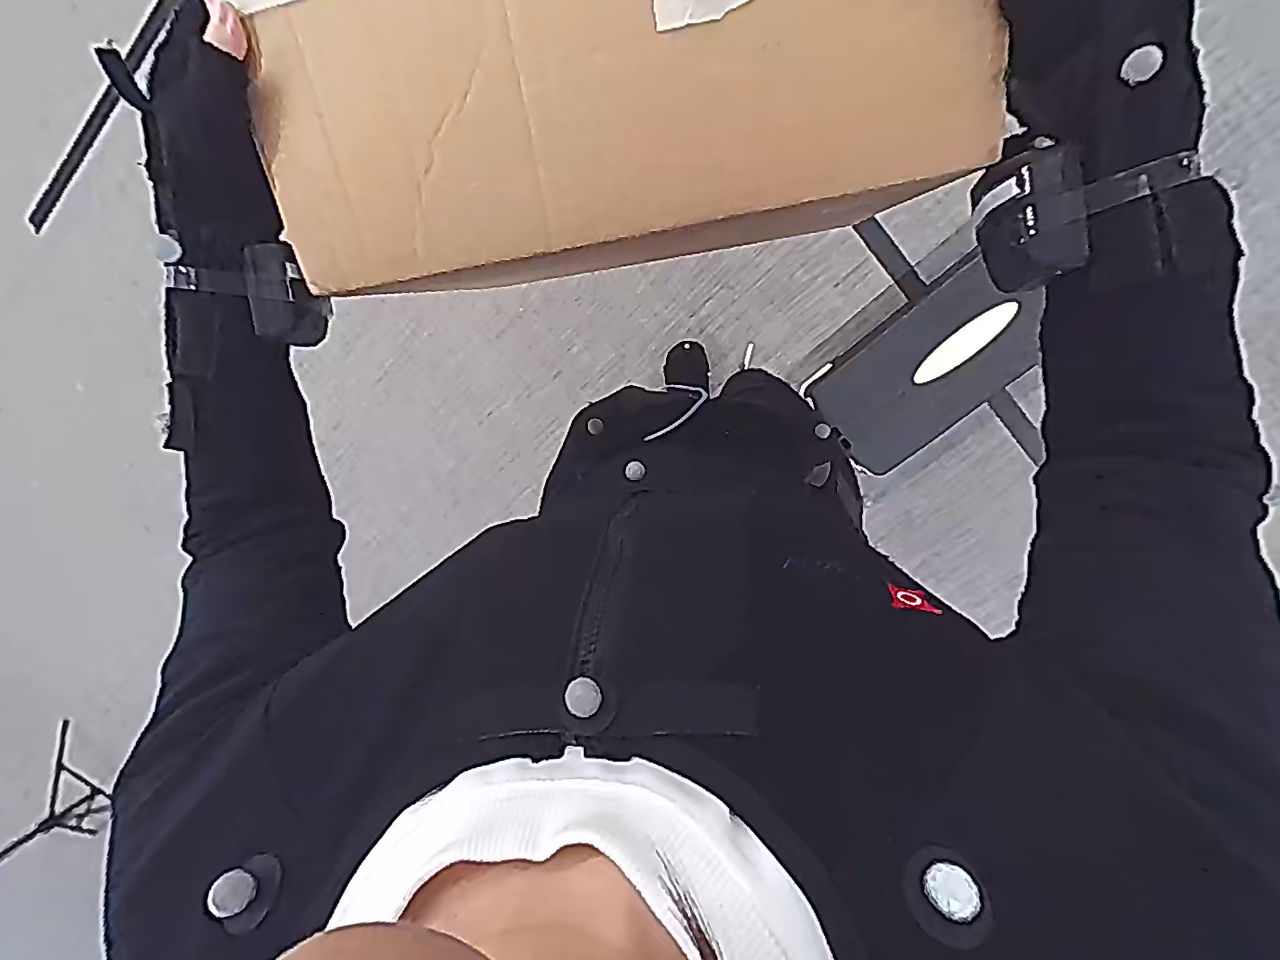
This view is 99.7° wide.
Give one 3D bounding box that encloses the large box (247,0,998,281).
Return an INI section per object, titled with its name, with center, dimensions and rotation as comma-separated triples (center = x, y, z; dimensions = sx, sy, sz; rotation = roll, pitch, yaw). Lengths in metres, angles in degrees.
[large box]
center = -0.014, -0.348, 0.412
dimensions = 0.408, 0.320, 0.320
rotation = -7, 110, 10
